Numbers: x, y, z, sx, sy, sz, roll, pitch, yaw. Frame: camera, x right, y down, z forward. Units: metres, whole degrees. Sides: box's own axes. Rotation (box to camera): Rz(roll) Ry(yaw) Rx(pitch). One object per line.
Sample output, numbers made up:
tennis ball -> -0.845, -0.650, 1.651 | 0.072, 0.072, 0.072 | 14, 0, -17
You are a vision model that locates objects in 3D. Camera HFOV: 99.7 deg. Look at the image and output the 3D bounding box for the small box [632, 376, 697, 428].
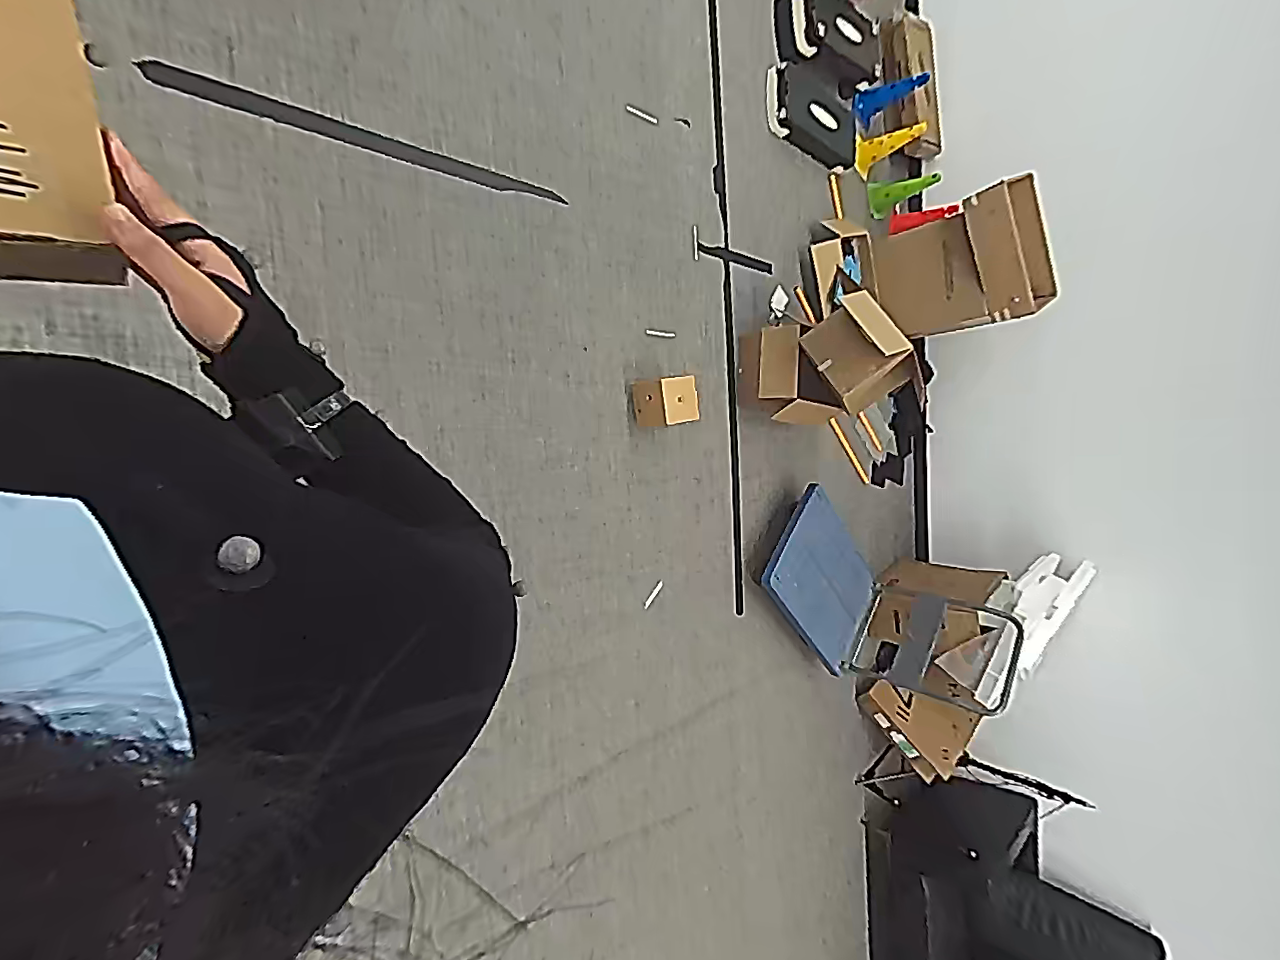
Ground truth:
small box -> 0.085, -0.289, 2.010 | 0.179, 0.176, 0.168 | -15, 101, -41
